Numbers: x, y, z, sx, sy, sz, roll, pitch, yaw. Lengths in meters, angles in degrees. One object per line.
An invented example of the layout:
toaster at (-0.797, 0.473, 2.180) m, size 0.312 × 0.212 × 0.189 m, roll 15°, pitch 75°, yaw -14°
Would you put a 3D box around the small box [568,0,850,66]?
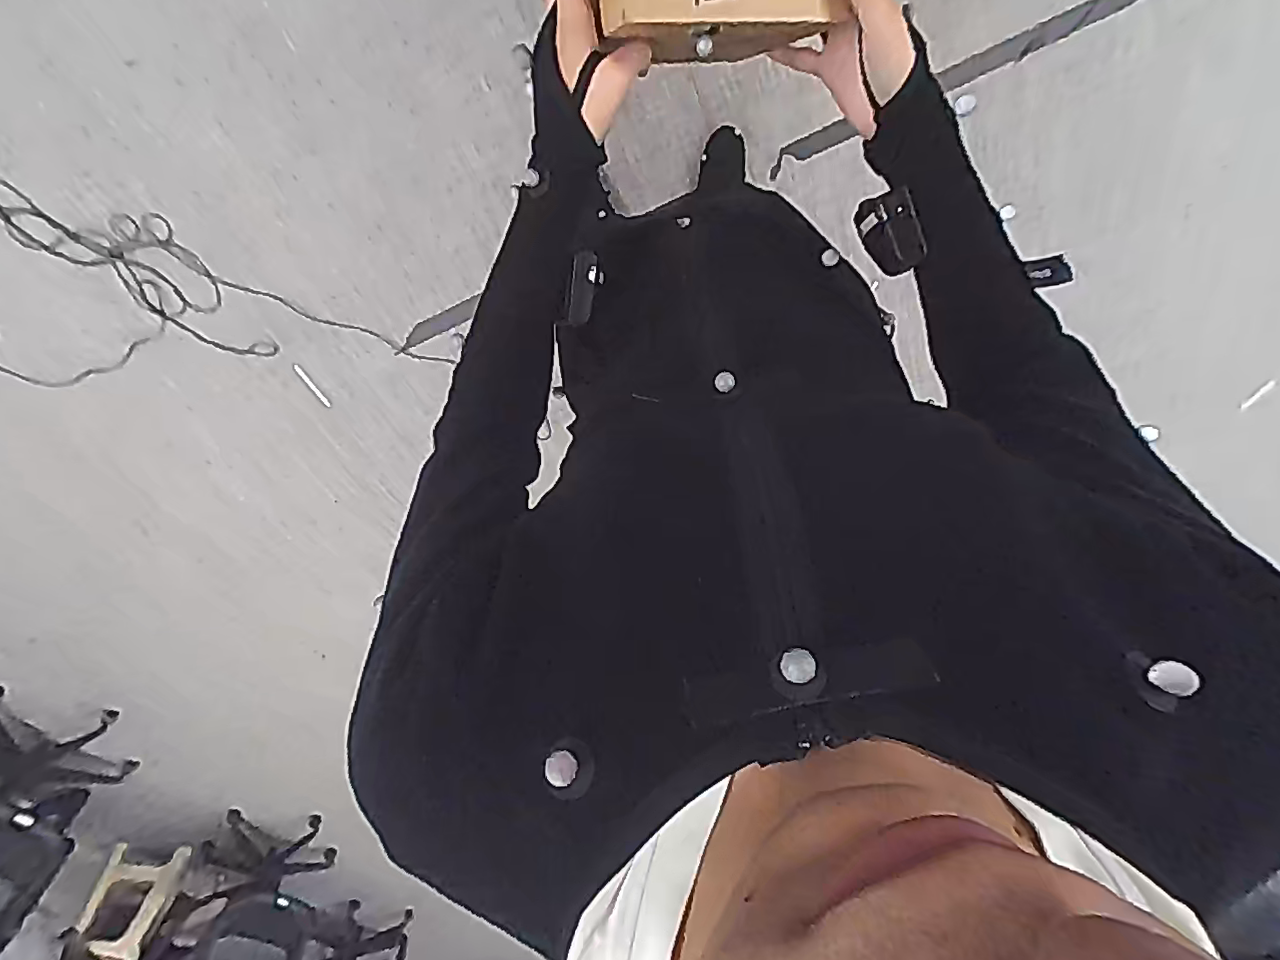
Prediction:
small box at (0.039, -0.416, 0.379) m, size 0.168 × 0.176 × 0.179 m, roll -11°, pitch 121°, yaw -14°
